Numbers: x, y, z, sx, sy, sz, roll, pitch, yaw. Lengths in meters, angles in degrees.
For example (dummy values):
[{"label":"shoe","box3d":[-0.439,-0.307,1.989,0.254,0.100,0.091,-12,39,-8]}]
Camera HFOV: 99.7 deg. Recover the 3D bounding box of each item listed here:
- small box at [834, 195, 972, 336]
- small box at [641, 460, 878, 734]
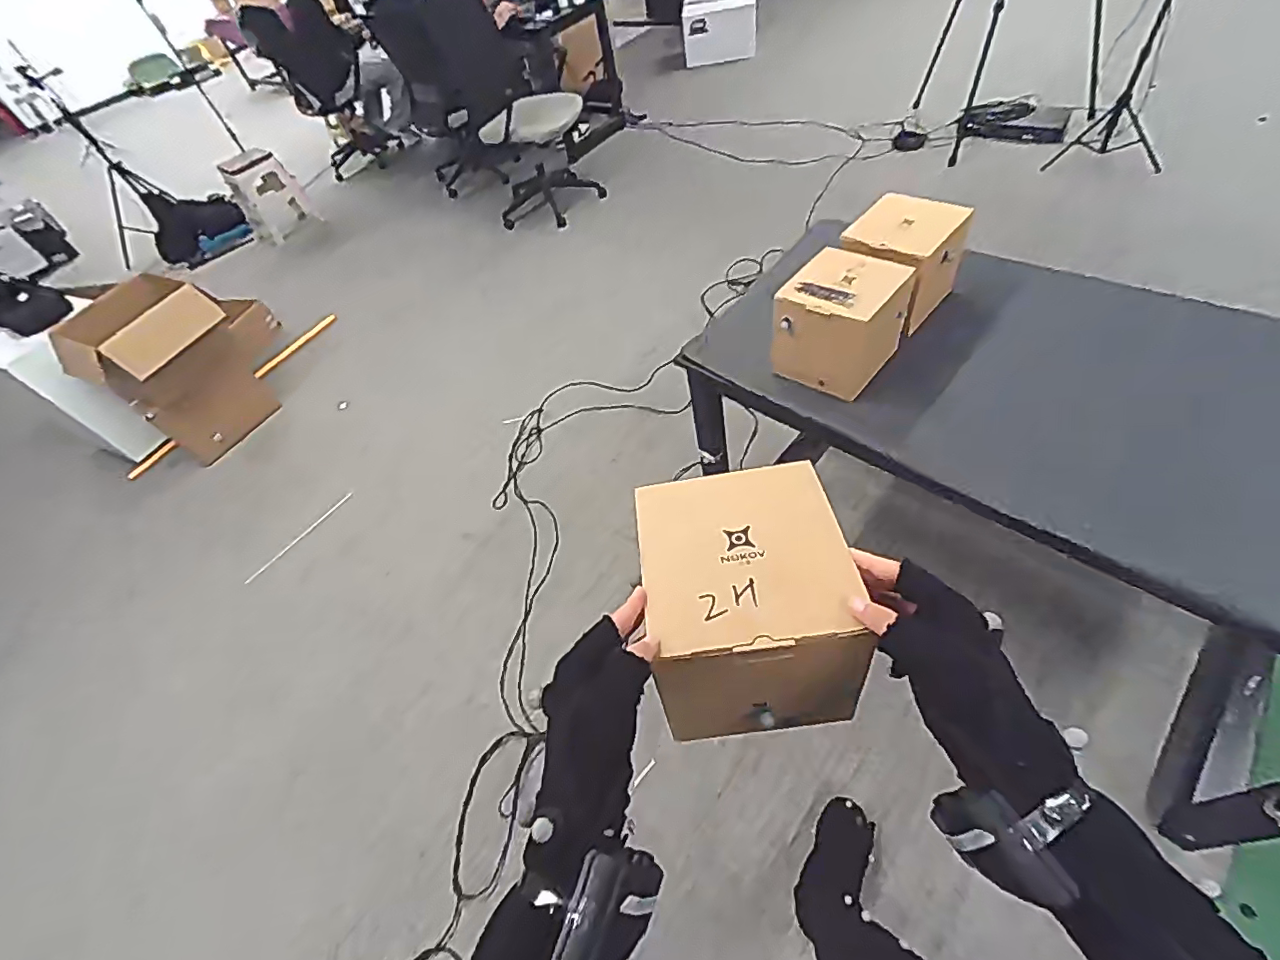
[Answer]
[{"label":"small box","box3d":[0.493,-0.411,1.041,0.168,0.176,0.179,33,66,32]},{"label":"small box","box3d":[0.095,0.108,0.499,0.168,0.176,0.179,-9,45,4]}]
